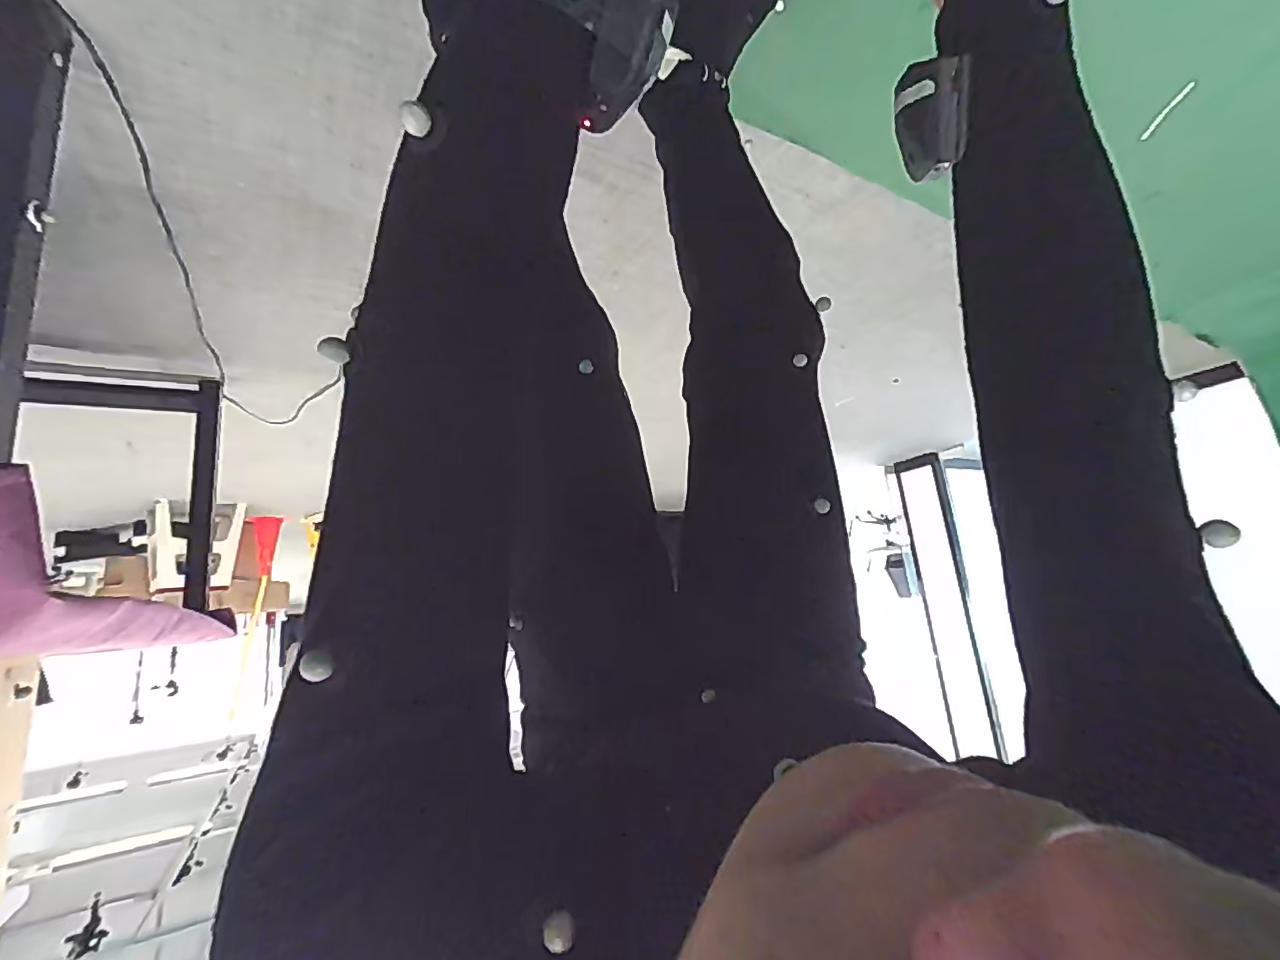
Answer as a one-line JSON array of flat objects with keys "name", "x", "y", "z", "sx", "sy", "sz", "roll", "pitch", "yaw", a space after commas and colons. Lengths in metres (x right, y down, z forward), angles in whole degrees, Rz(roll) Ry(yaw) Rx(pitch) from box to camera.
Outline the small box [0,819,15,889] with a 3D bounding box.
[{"name": "small box", "x": -0.721, "y": 0.426, "z": 0.476, "sx": 0.179, "sy": 0.176, "sz": 0.168, "roll": 4, "pitch": 165, "yaw": -31}]
